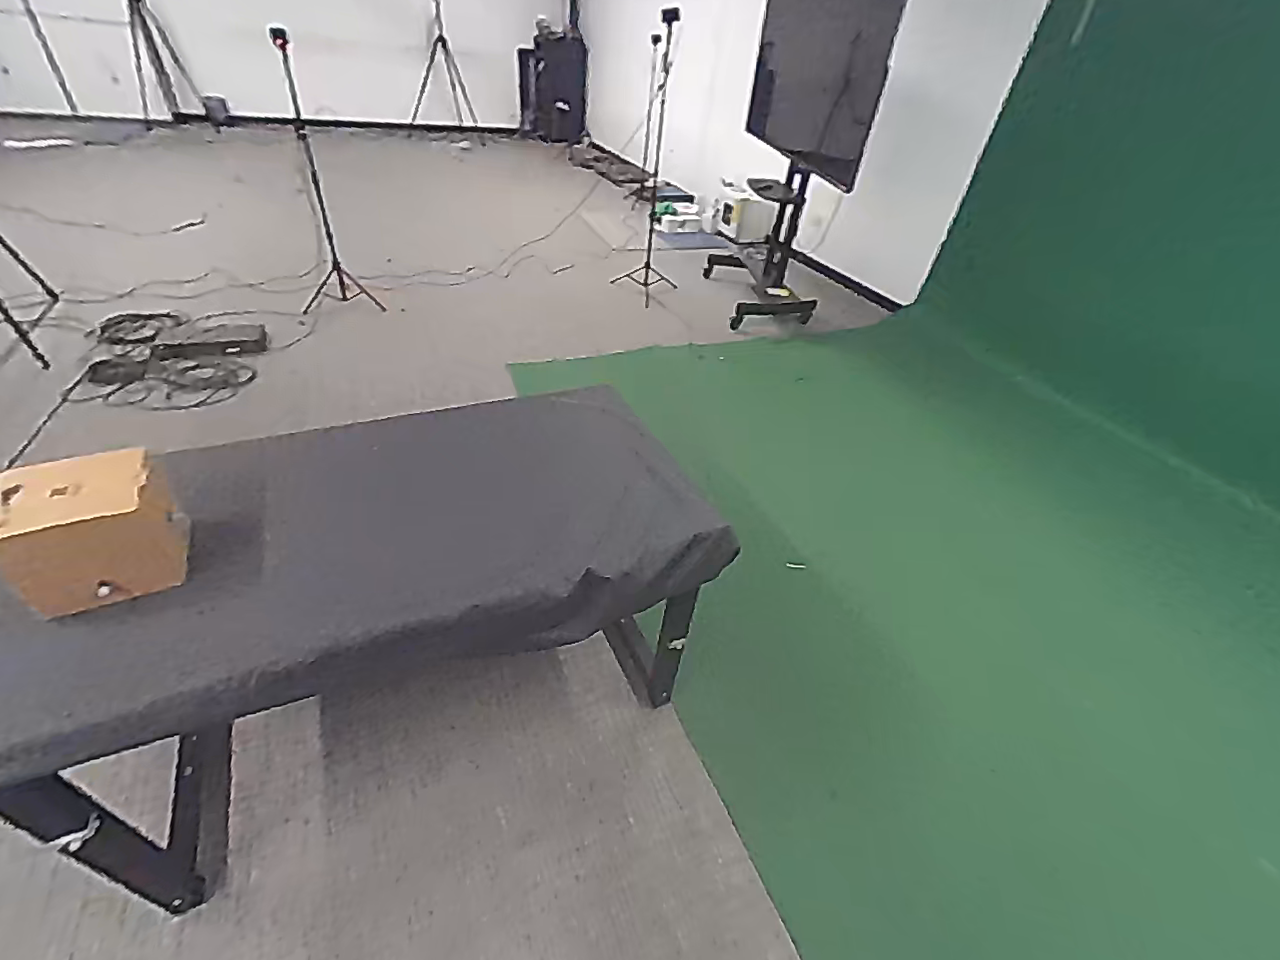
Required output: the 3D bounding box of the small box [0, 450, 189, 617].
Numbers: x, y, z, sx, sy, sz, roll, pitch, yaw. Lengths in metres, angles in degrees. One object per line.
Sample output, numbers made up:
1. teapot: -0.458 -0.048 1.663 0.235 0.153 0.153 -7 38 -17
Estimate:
1. small box: -0.841 0.080 0.843 0.179 0.176 0.168 -15 45 -27
